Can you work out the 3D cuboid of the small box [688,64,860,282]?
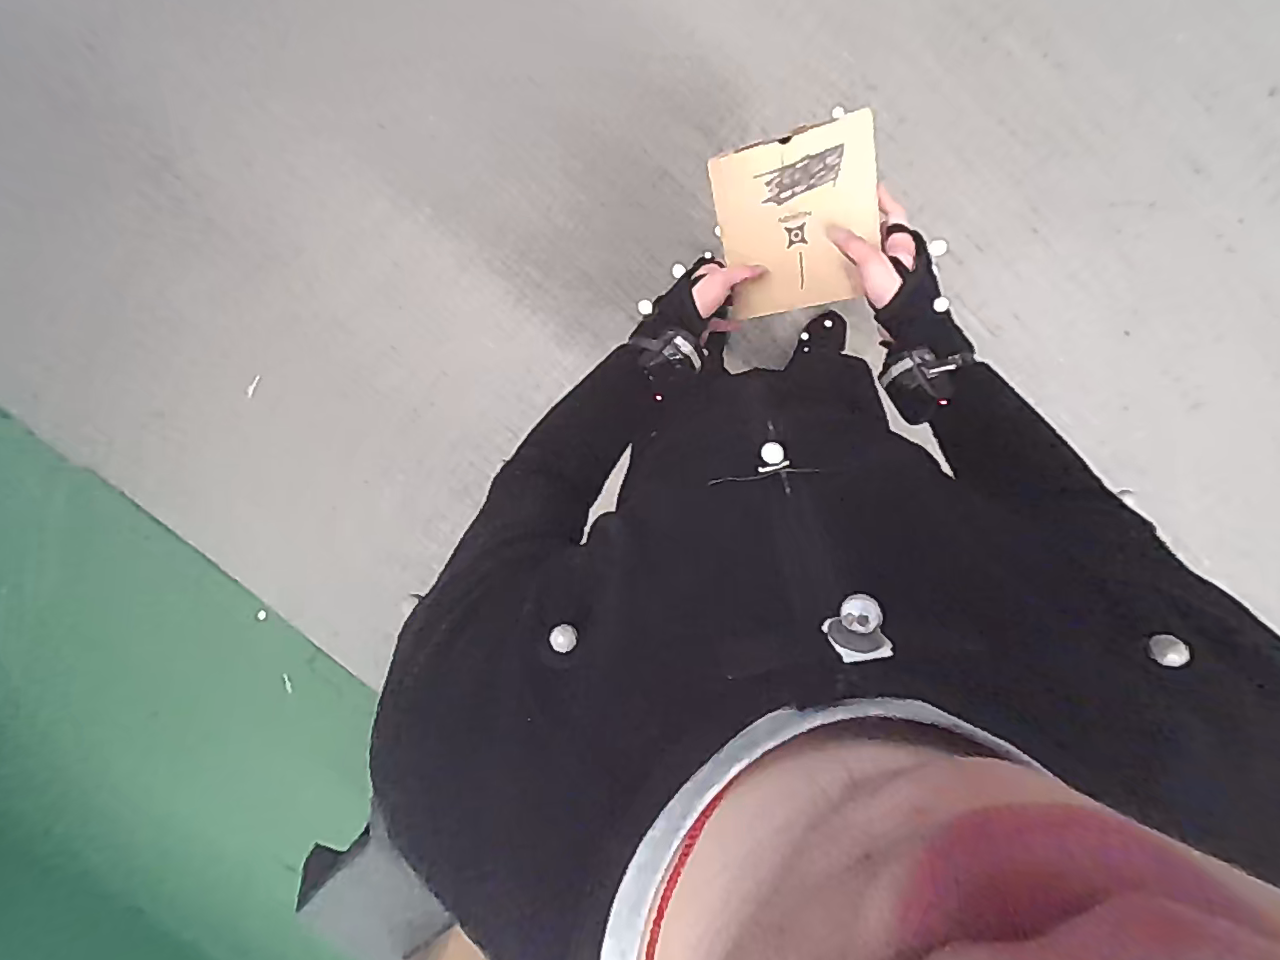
[{"bbox_3d":[0.164,-0.349,0.626,0.168,0.176,0.179,-1,124,22],"label":"small box"}]
